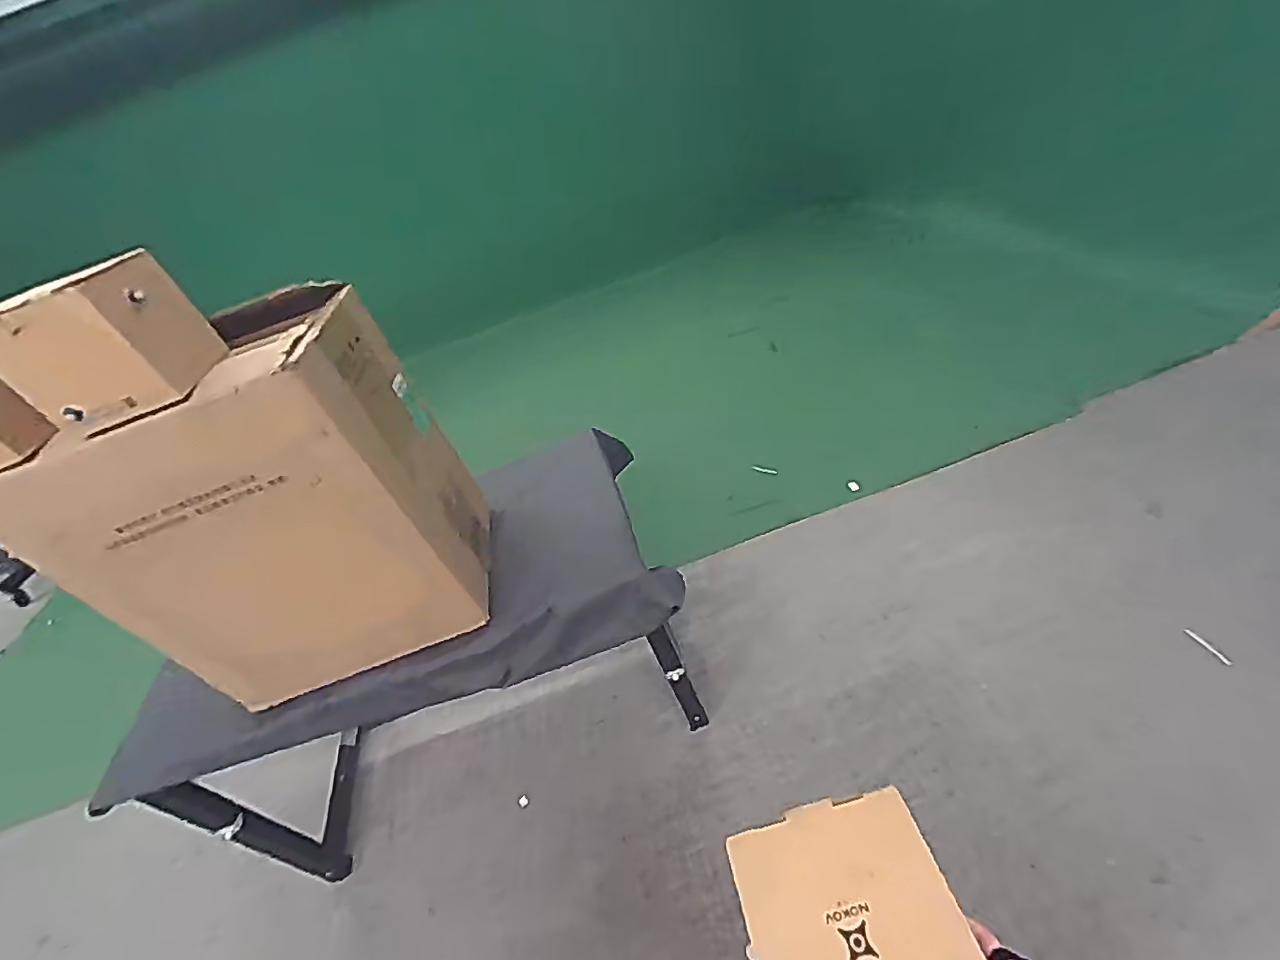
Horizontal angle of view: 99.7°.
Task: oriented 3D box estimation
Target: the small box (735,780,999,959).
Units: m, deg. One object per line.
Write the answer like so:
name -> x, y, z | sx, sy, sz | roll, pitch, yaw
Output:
small box -> 0.198, 0.408, 0.476 | 0.168, 0.176, 0.179 | -20, 38, 2

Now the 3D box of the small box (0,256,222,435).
small box -> -0.743, -0.183, 0.756 | 0.168, 0.176, 0.179 | -21, 37, -1

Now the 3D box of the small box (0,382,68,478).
small box -> -0.958, -0.097, 0.759 | 0.168, 0.176, 0.179 | -22, 39, 3
